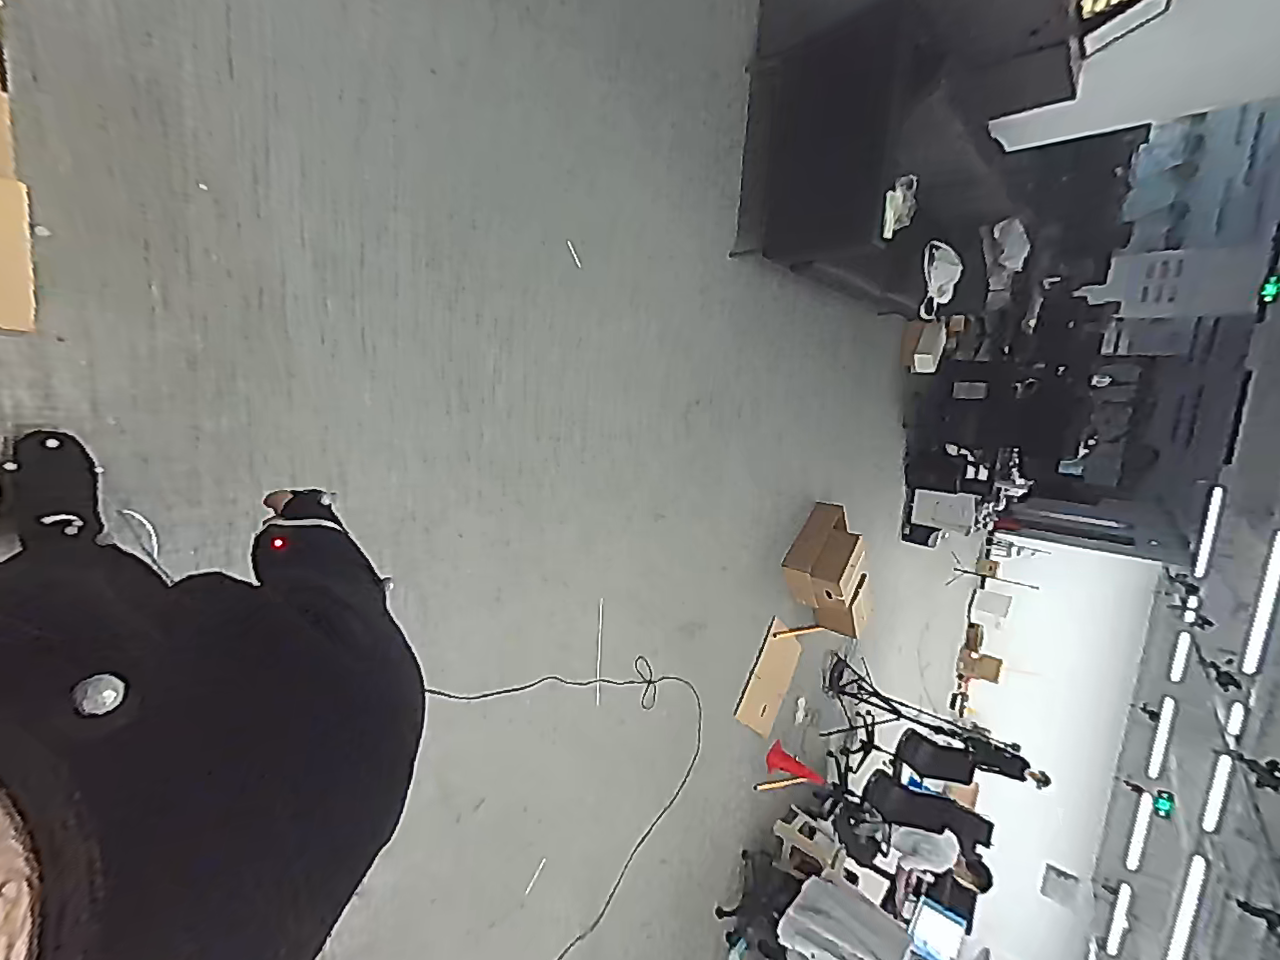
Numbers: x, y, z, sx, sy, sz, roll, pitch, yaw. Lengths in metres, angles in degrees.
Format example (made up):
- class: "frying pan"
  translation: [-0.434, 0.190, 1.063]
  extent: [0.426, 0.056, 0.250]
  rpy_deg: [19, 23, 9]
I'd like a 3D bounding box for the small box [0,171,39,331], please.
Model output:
- class: "small box"
  translation: [-0.849, -0.281, 0.643]
  extent: [0.168, 0.176, 0.179]
  rpy_deg: [-6, 102, -50]
